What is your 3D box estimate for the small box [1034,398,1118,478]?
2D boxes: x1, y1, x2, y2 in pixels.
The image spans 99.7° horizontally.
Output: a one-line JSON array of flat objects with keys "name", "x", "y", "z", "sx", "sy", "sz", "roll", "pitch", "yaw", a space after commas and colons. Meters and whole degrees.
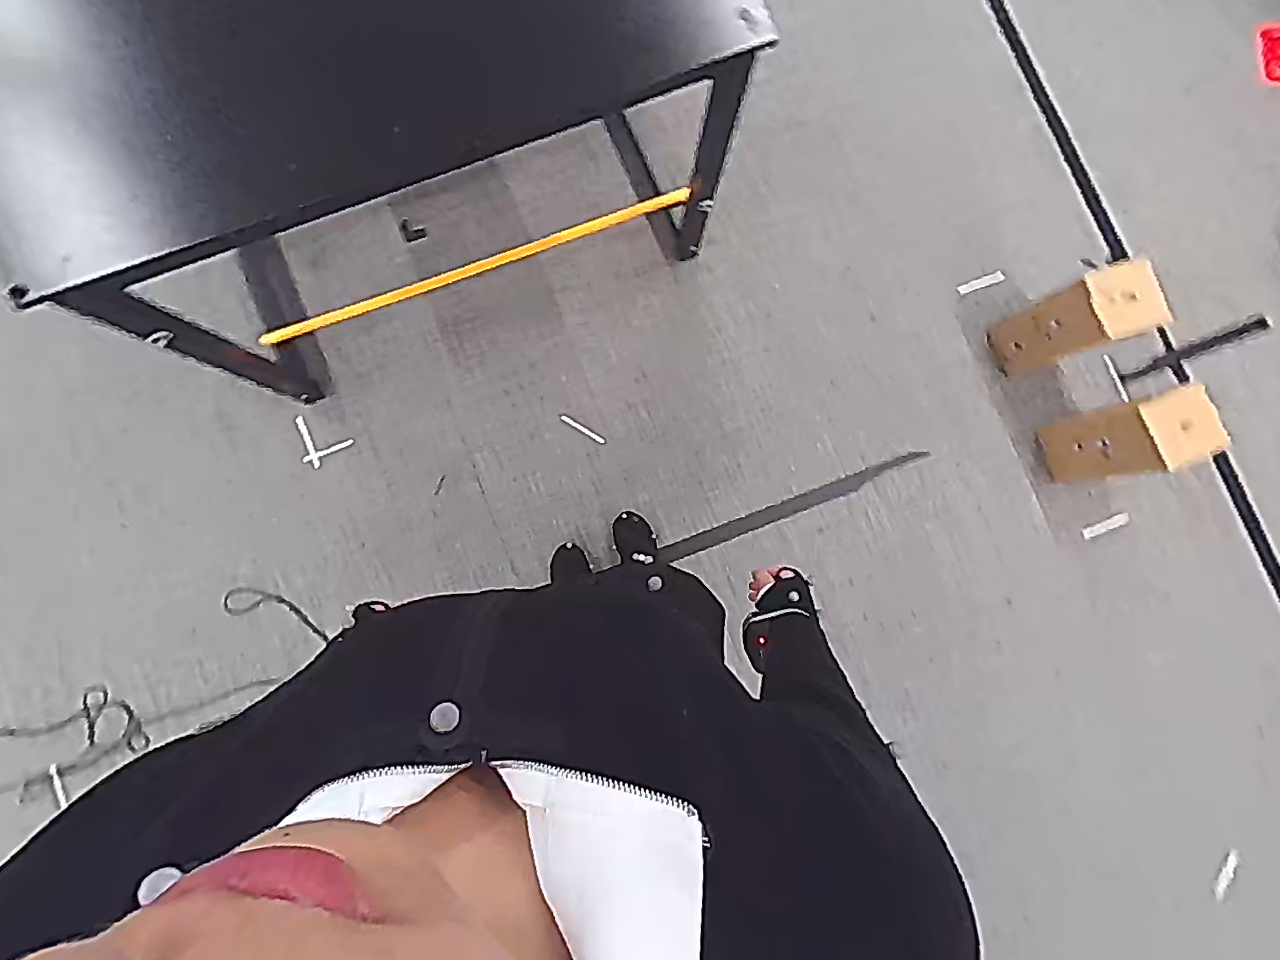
[{"name": "small box", "x": 1.261, "y": -0.114, "z": 1.519, "sx": 0.168, "sy": 0.176, "sz": 0.179, "roll": -19, "pitch": 88, "yaw": -4}]

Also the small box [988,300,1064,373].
[{"name": "small box", "x": 1.133, "y": -0.423, "z": 1.535, "sx": 0.179, "sy": 0.176, "sz": 0.168, "roll": -23, "pitch": 87, "yaw": -4}]

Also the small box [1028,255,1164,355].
[{"name": "small box", "x": 1.145, "y": -0.435, "z": 1.370, "sx": 0.179, "sy": 0.176, "sz": 0.168, "roll": -17, "pitch": 86, "yaw": -4}]

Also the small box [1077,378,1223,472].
[{"name": "small box", "x": 1.268, "y": -0.131, "z": 1.358, "sx": 0.179, "sy": 0.176, "sz": 0.168, "roll": -24, "pitch": 86, "yaw": -3}]
